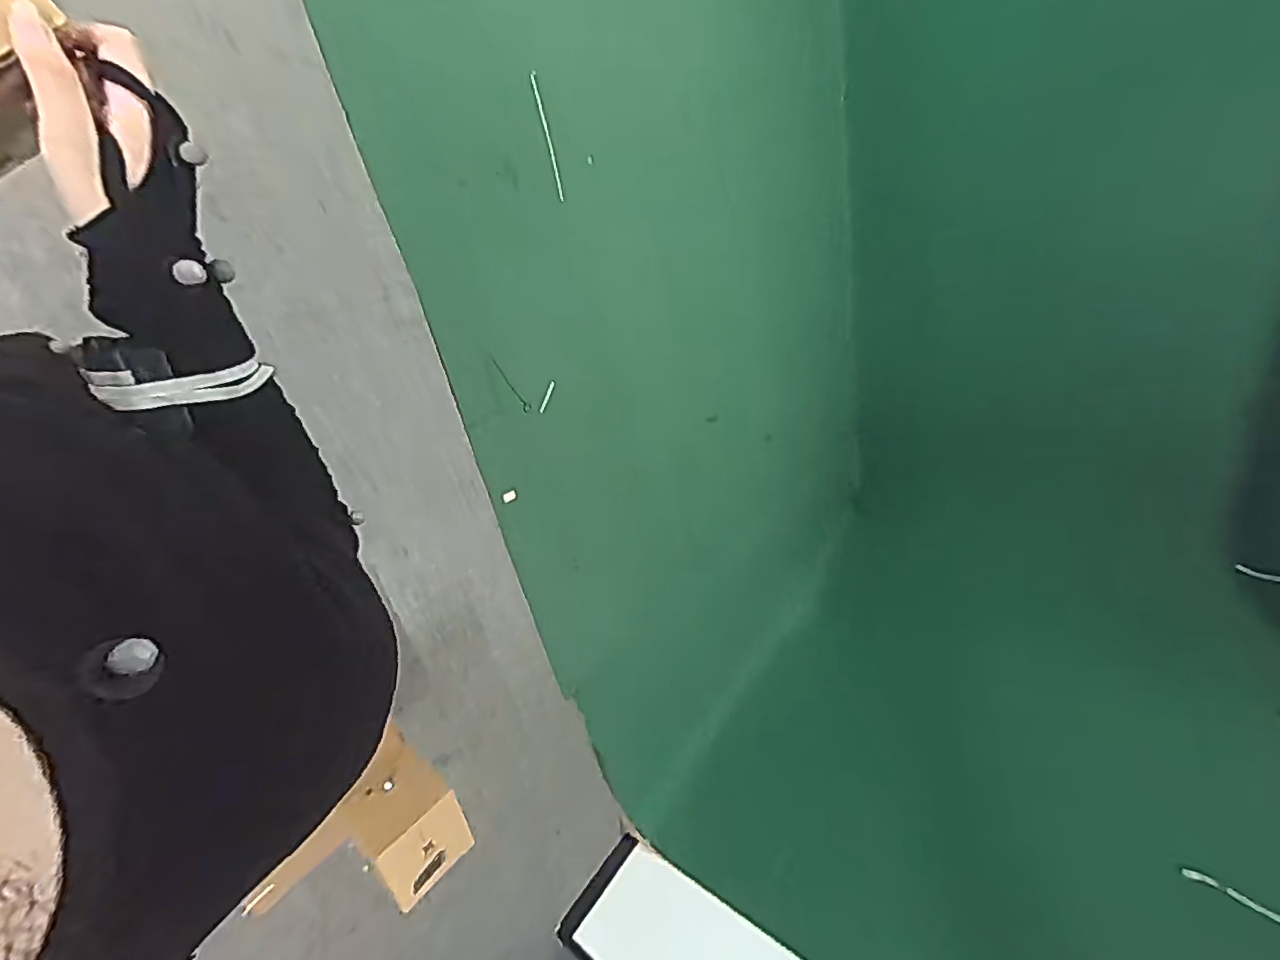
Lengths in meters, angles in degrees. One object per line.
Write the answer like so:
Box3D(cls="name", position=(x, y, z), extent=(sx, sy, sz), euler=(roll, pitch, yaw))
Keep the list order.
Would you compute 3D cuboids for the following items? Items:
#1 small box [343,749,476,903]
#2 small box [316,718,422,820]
Box3D(cls="small box", position=(-0.472, 0.699, 1.114), extent=(0.168, 0.176, 0.179), euler=(-34, 124, -42))
Box3D(cls="small box", position=(-0.592, 0.682, 1.227), extent=(0.168, 0.176, 0.179), euler=(-36, 126, -41))
